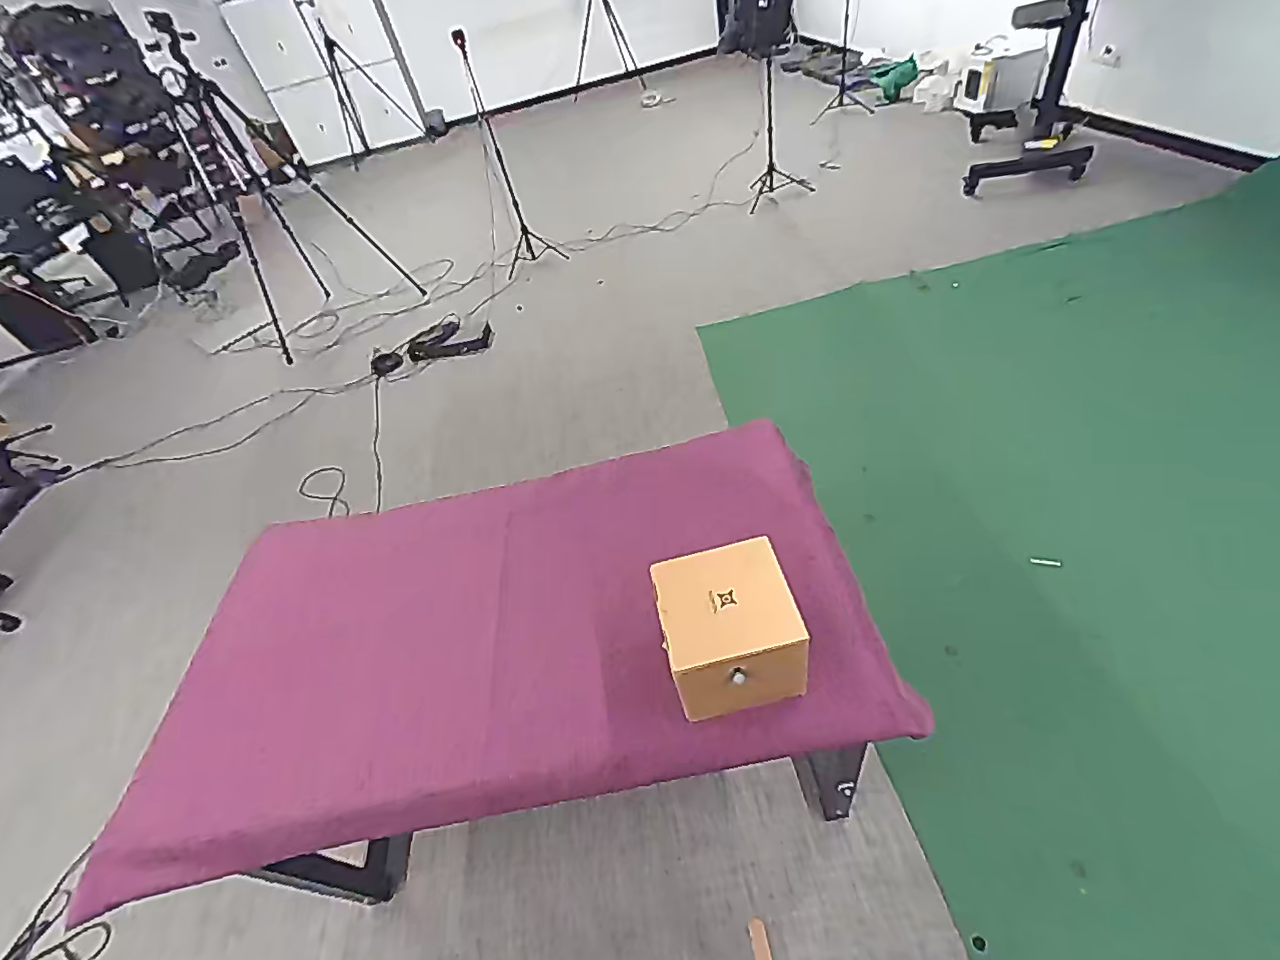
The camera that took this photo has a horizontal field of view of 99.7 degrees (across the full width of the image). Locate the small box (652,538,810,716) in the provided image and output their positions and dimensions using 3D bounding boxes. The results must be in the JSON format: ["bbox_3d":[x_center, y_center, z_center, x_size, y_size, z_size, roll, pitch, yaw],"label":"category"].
[{"bbox_3d":[0.130,0.214,0.776,0.179,0.176,0.168,-17,46,3],"label":"small box"}]
